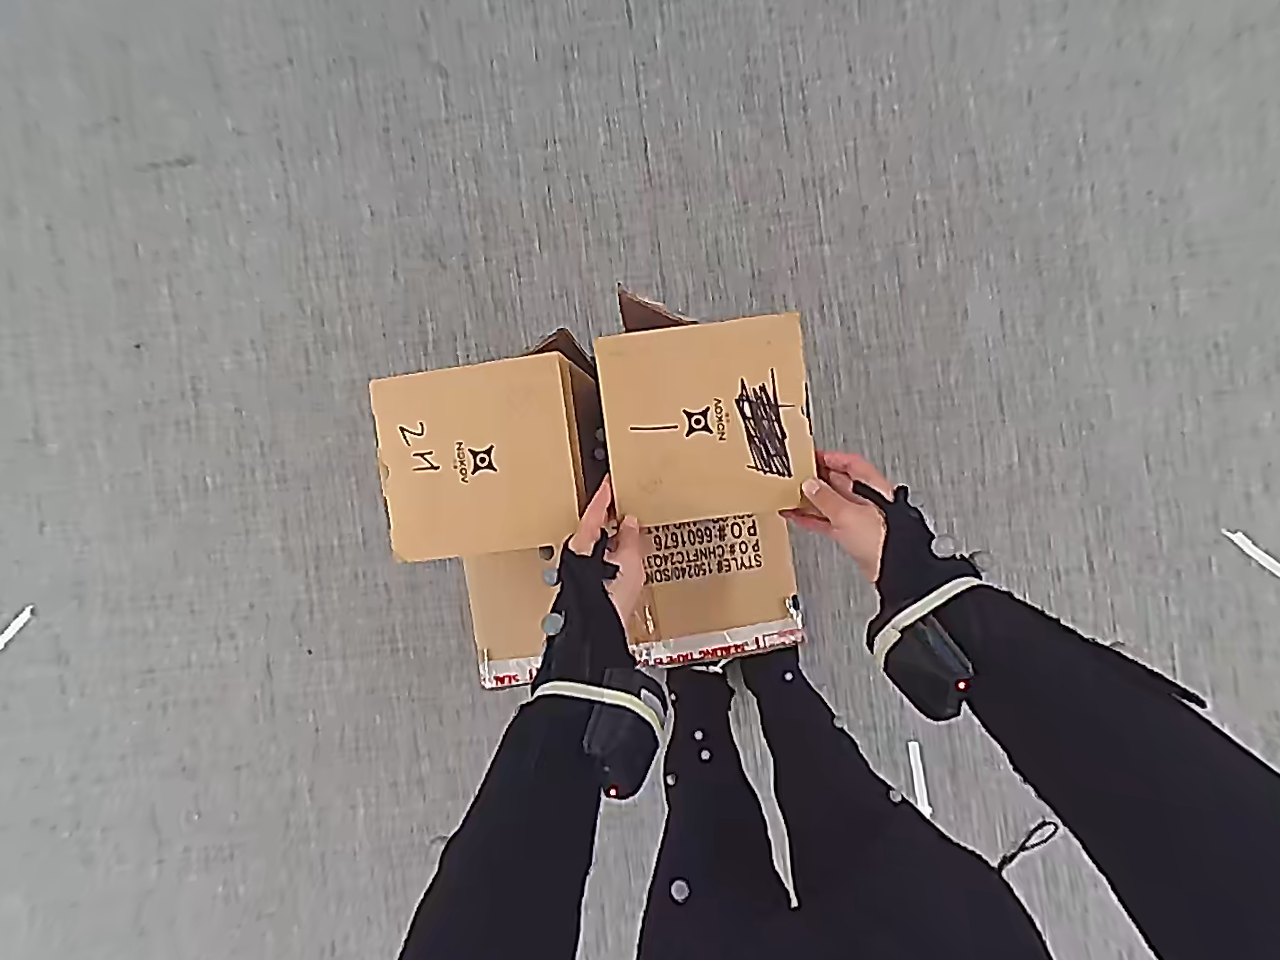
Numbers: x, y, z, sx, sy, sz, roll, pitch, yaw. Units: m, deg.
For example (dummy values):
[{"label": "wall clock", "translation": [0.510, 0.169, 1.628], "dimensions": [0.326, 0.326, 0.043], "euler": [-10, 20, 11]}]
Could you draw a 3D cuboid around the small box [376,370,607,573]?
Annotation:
[{"label": "small box", "translation": [-0.134, -0.009, 0.556], "dimensions": [0.179, 0.176, 0.168], "euler": [-7, 90, 6]}]

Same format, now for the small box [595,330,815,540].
[{"label": "small box", "translation": [0.056, -0.041, 0.541], "dimensions": [0.179, 0.176, 0.168], "euler": [-8, 91, 1]}]
